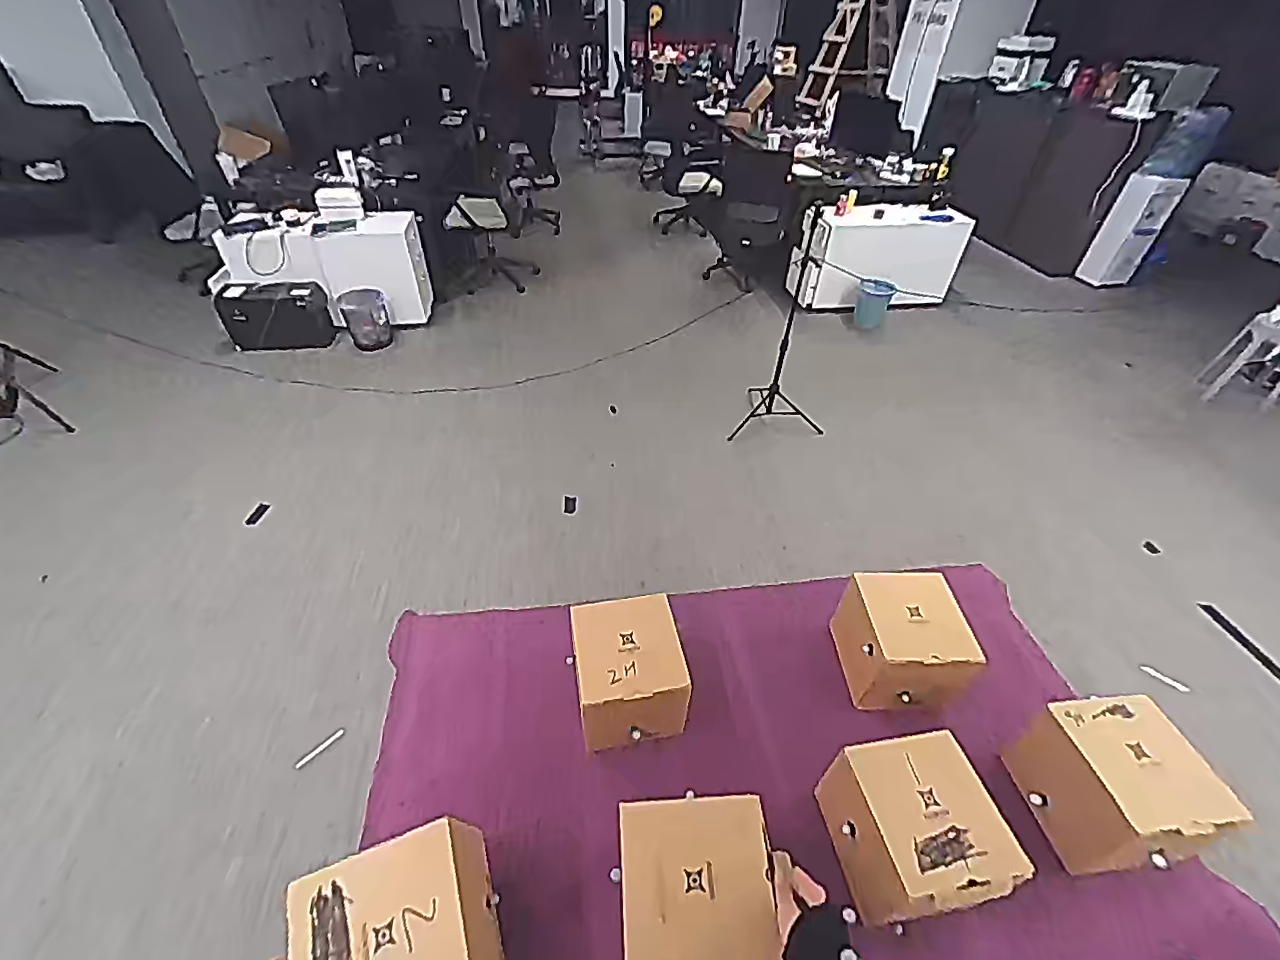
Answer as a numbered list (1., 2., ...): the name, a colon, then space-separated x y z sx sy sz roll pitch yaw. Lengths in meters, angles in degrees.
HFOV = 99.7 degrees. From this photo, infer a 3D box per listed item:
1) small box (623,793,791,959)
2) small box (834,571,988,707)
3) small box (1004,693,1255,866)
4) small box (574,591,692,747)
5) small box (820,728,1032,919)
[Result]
1. small box: 0.068 0.500 0.675 0.179 0.176 0.168 -2 50 -2
2. small box: 0.464 0.282 0.963 0.168 0.176 0.179 0 43 -2
3. small box: 0.687 0.439 0.789 0.168 0.176 0.179 -2 40 -4
4. small box: -0.020 0.314 0.906 0.168 0.176 0.179 -6 43 -9
5. small box: 0.370 0.473 0.741 0.168 0.176 0.179 -5 41 -8
